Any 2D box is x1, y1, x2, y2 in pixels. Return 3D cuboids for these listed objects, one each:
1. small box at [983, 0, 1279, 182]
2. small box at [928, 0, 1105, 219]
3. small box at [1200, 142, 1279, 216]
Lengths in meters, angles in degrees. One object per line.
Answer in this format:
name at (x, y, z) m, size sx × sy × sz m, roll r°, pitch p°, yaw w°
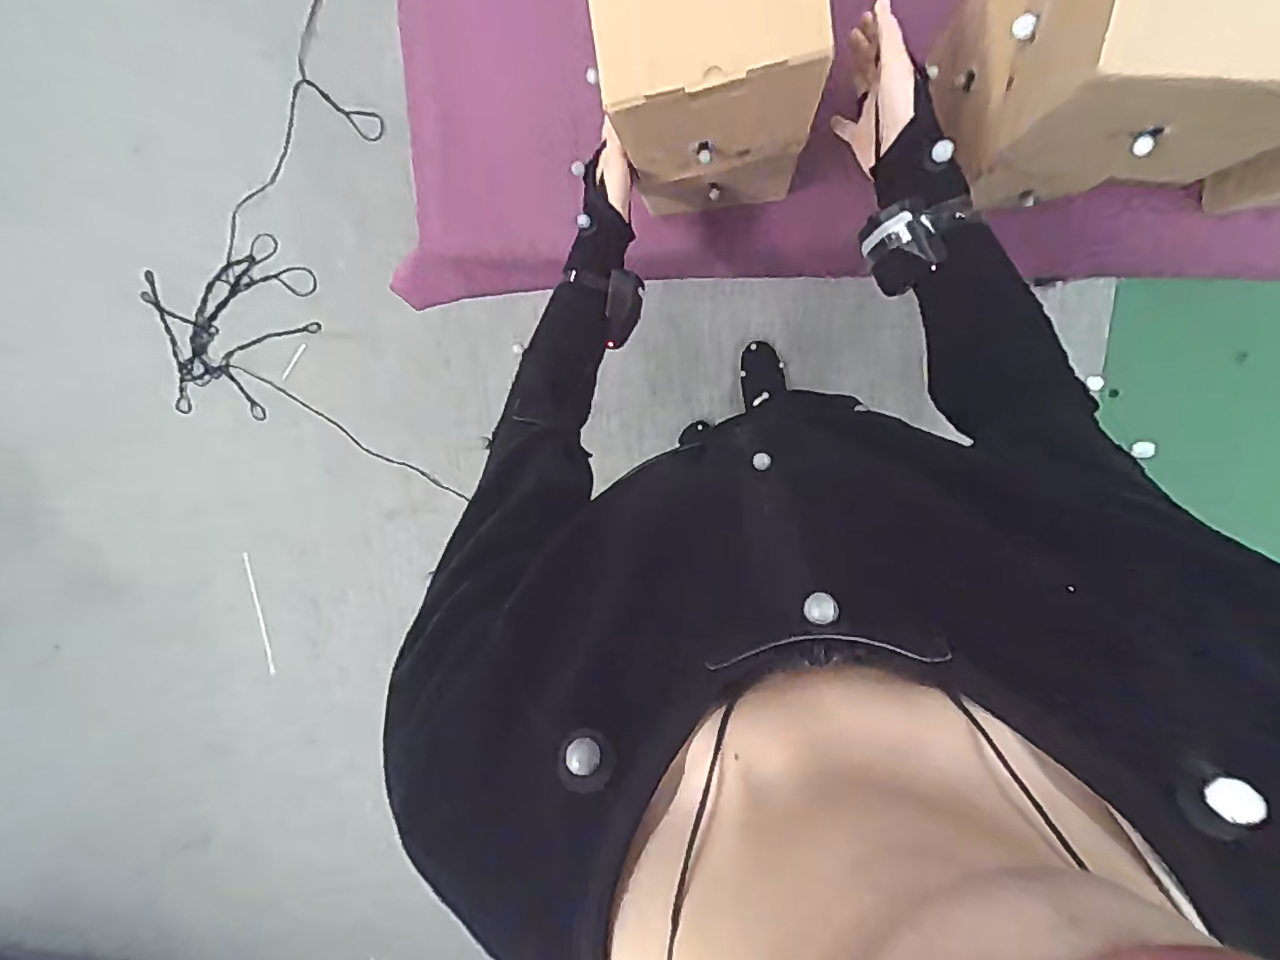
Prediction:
small box at (0.396, -0.337, 0.396) m, size 0.179 × 0.176 × 0.168 m, roll 10°, pitch 103°, yaw 9°
small box at (0.409, -0.392, 0.553) m, size 0.168 × 0.176 × 0.179 m, roll -5°, pitch 100°, yaw 12°
small box at (0.701, -0.363, 0.505) m, size 0.179 × 0.176 × 0.168 m, roll -2°, pitch 101°, yaw 11°
